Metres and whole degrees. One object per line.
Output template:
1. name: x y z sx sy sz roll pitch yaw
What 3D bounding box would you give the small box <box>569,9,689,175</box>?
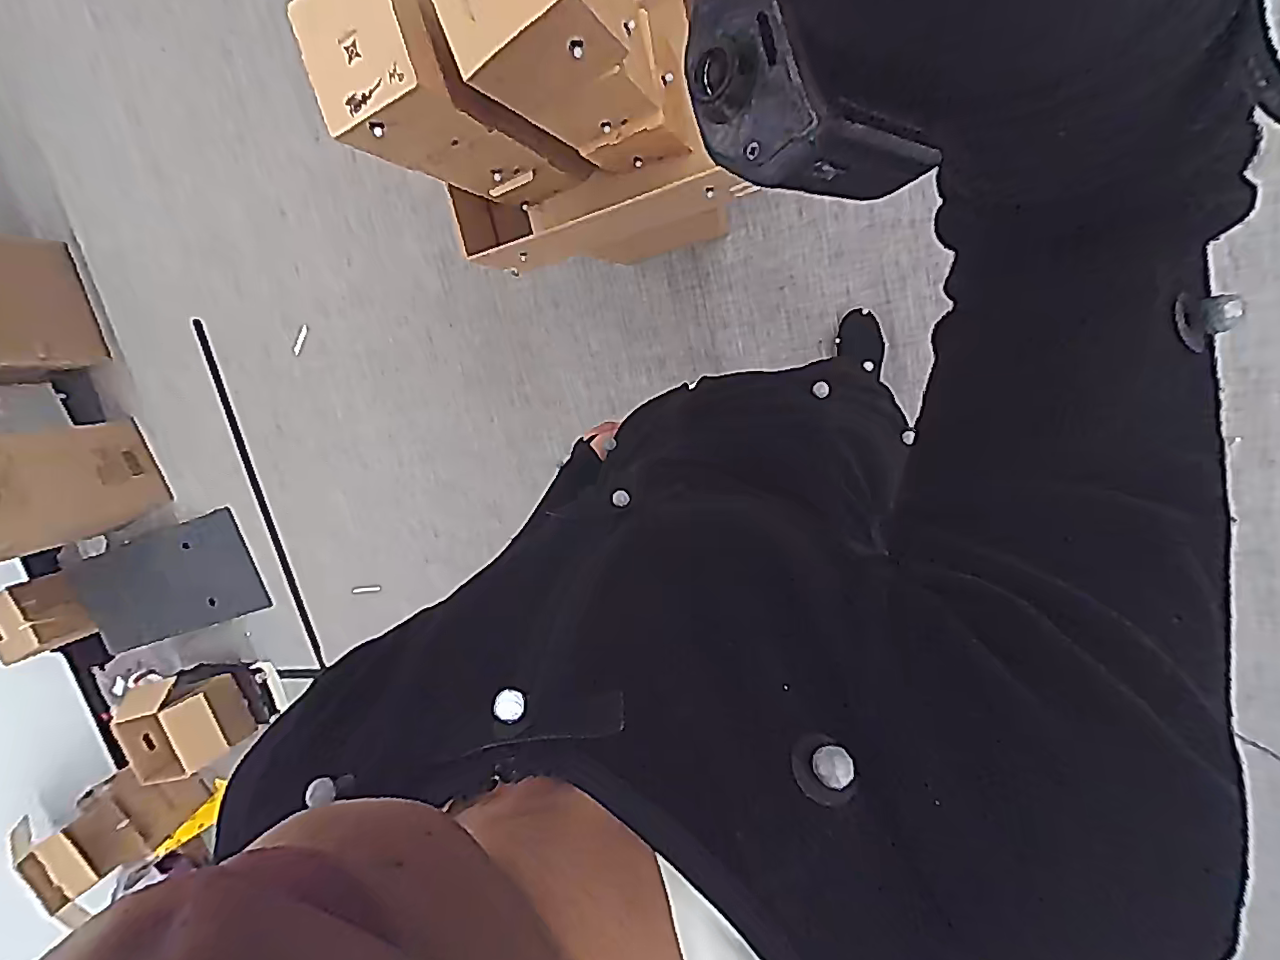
1. small box: -0.019 -0.696 0.995 0.168 0.176 0.179 -5 103 25

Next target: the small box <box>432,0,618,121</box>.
1. small box: -0.146 -0.618 0.703 0.179 0.176 0.168 -19 96 26

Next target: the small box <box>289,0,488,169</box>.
1. small box: -0.352 -0.592 0.782 0.168 0.176 0.179 -11 99 24

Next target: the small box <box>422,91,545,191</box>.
1. small box: -0.291 -0.632 0.931 0.168 0.176 0.179 -11 100 23
